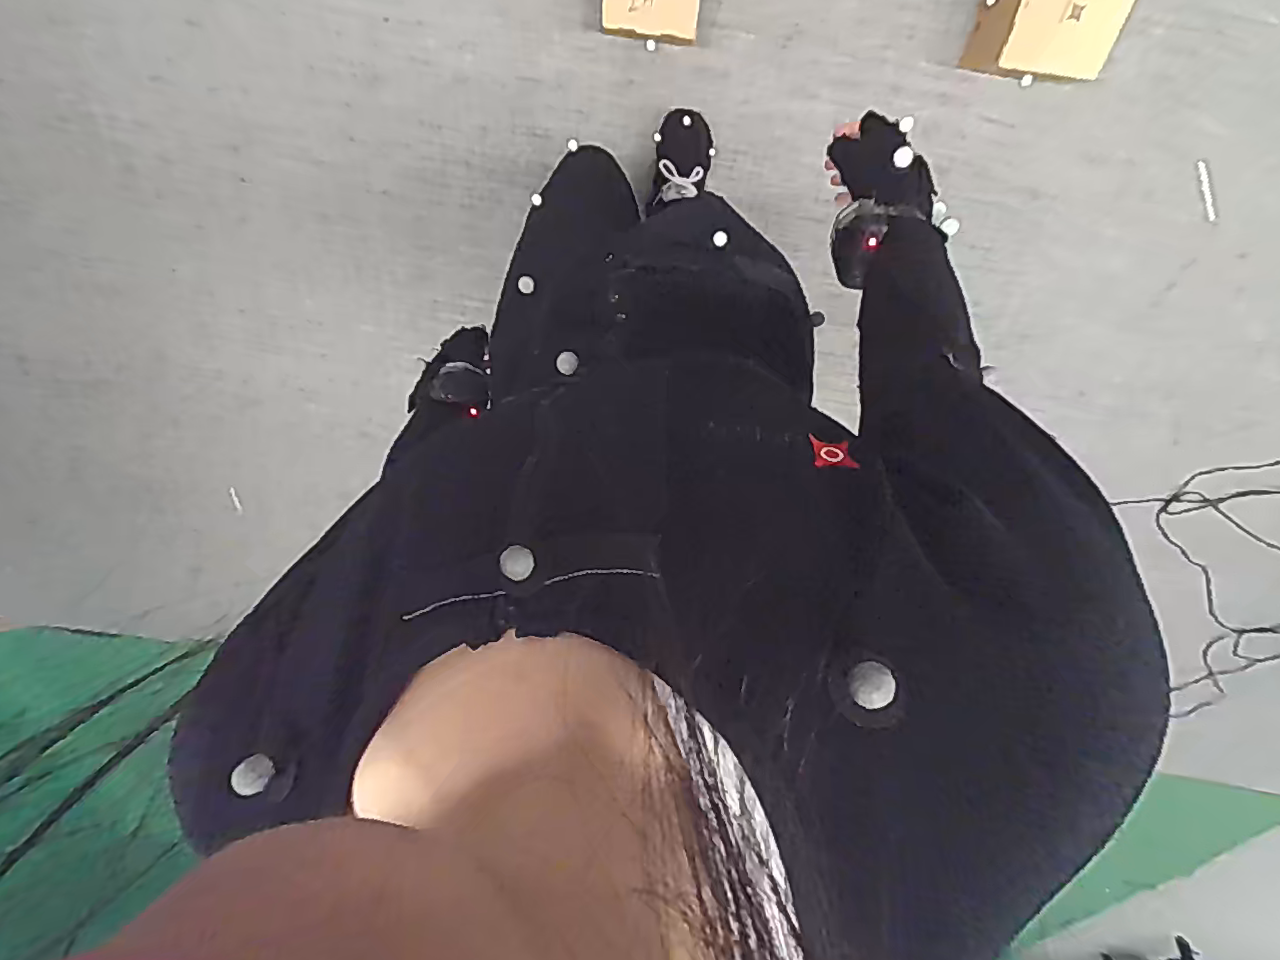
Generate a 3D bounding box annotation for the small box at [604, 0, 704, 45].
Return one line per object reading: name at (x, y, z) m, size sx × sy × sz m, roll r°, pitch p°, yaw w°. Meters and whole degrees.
small box at (0.034, -0.880, 0.939) m, size 0.168 × 0.176 × 0.179 m, roll 8°, pitch 127°, yaw 0°

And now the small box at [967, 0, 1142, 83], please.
small box at (0.715, -0.803, 0.935) m, size 0.179 × 0.176 × 0.168 m, roll 8°, pitch 128°, yaw 0°
